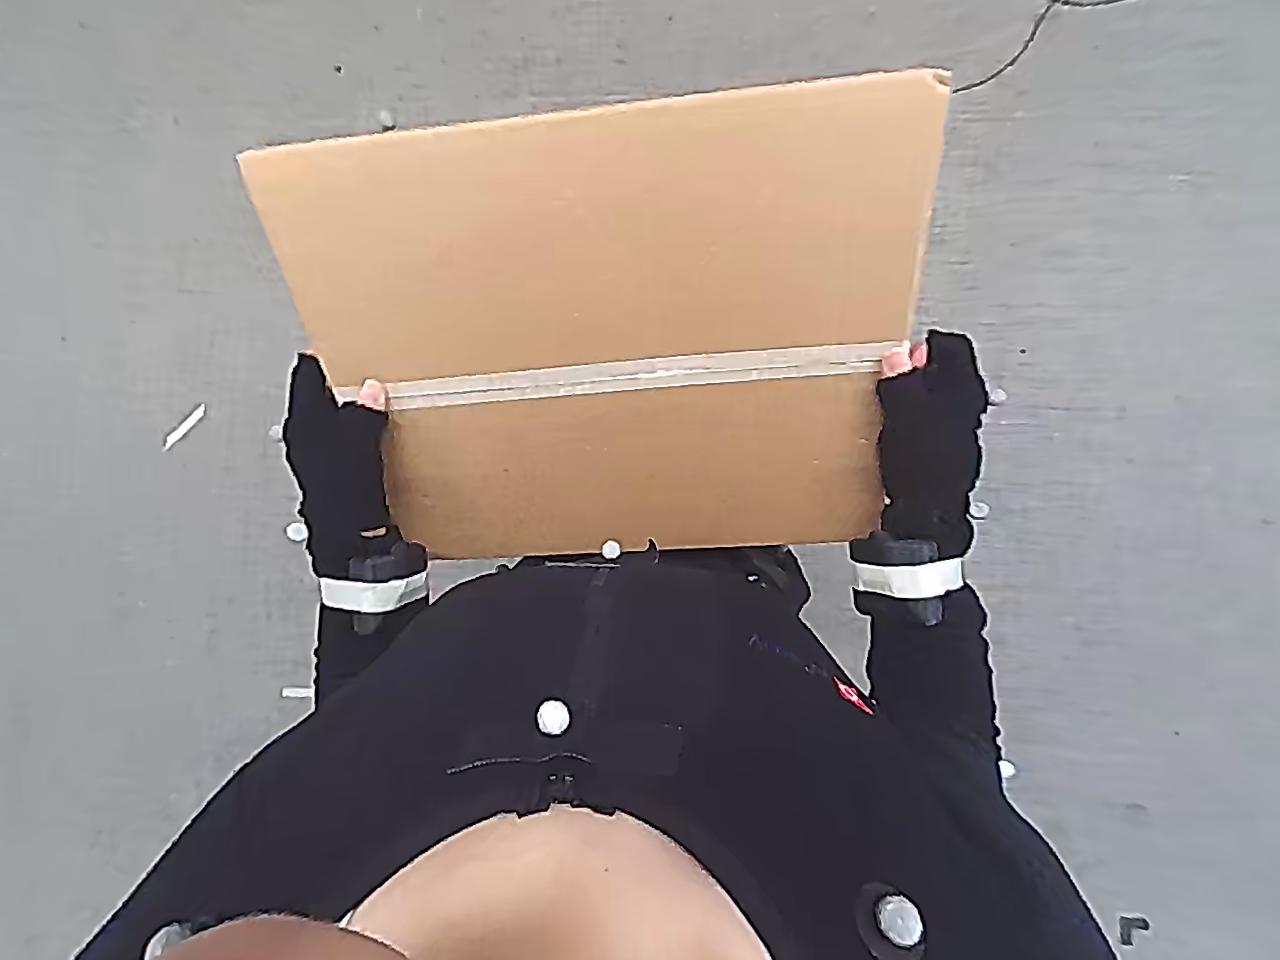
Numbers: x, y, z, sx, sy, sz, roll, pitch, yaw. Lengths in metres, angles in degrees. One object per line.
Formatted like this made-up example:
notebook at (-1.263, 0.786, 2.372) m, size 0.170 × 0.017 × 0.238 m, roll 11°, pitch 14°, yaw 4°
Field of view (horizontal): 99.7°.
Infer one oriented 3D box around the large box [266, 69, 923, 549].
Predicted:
large box at (-0.018, -0.158, 0.519) m, size 0.408 × 0.320 × 0.320 m, roll -4°, pitch 122°, yaw 5°
